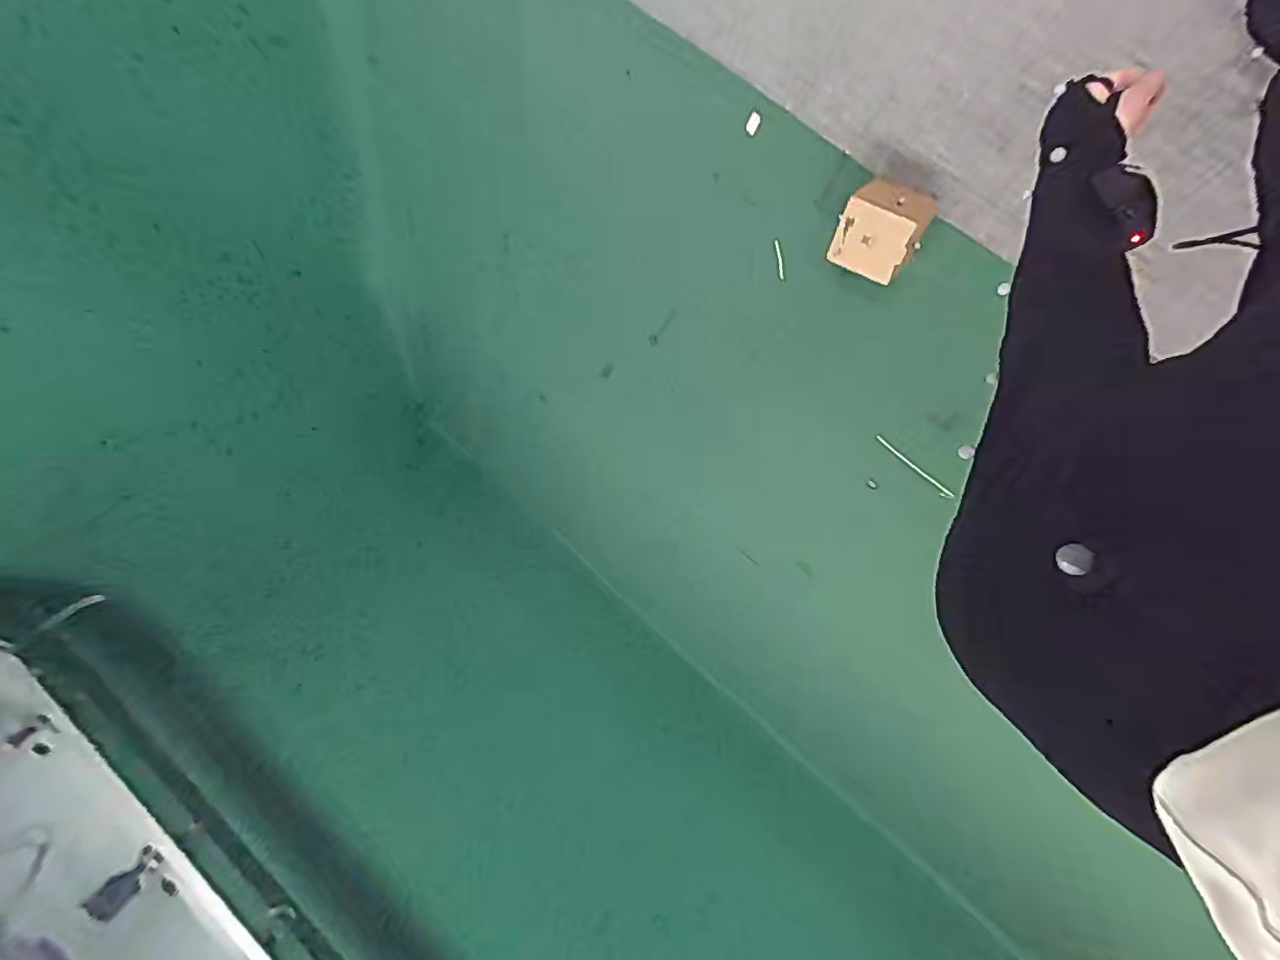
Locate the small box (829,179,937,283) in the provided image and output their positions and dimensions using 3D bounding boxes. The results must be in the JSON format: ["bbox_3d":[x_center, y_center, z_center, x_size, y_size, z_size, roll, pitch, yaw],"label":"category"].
[{"bbox_3d":[0.623,-0.641,1.383,0.179,0.176,0.168,34,145,18],"label":"small box"}]
